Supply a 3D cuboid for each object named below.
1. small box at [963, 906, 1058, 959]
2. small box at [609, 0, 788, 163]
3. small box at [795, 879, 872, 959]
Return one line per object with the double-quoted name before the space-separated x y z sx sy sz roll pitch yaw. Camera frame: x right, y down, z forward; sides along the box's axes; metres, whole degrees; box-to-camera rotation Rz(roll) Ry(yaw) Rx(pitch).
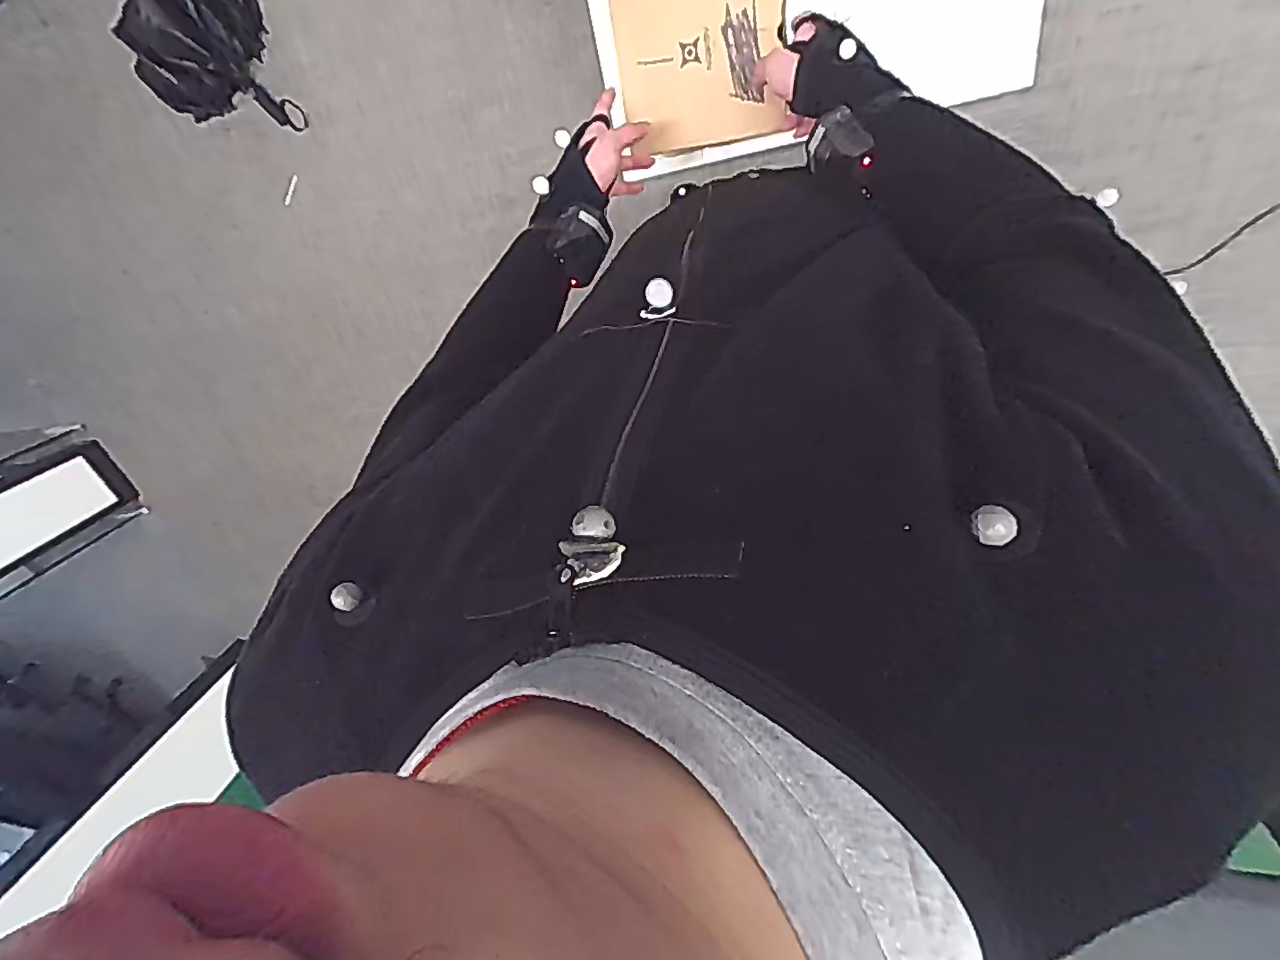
"small box" 0.942 1.218 1.365 0.179 0.176 0.168 -3 121 18
"small box" 0.080 -0.476 0.622 0.179 0.176 0.168 0 122 17
"small box" 0.522 1.232 1.482 0.179 0.176 0.168 2 123 13
